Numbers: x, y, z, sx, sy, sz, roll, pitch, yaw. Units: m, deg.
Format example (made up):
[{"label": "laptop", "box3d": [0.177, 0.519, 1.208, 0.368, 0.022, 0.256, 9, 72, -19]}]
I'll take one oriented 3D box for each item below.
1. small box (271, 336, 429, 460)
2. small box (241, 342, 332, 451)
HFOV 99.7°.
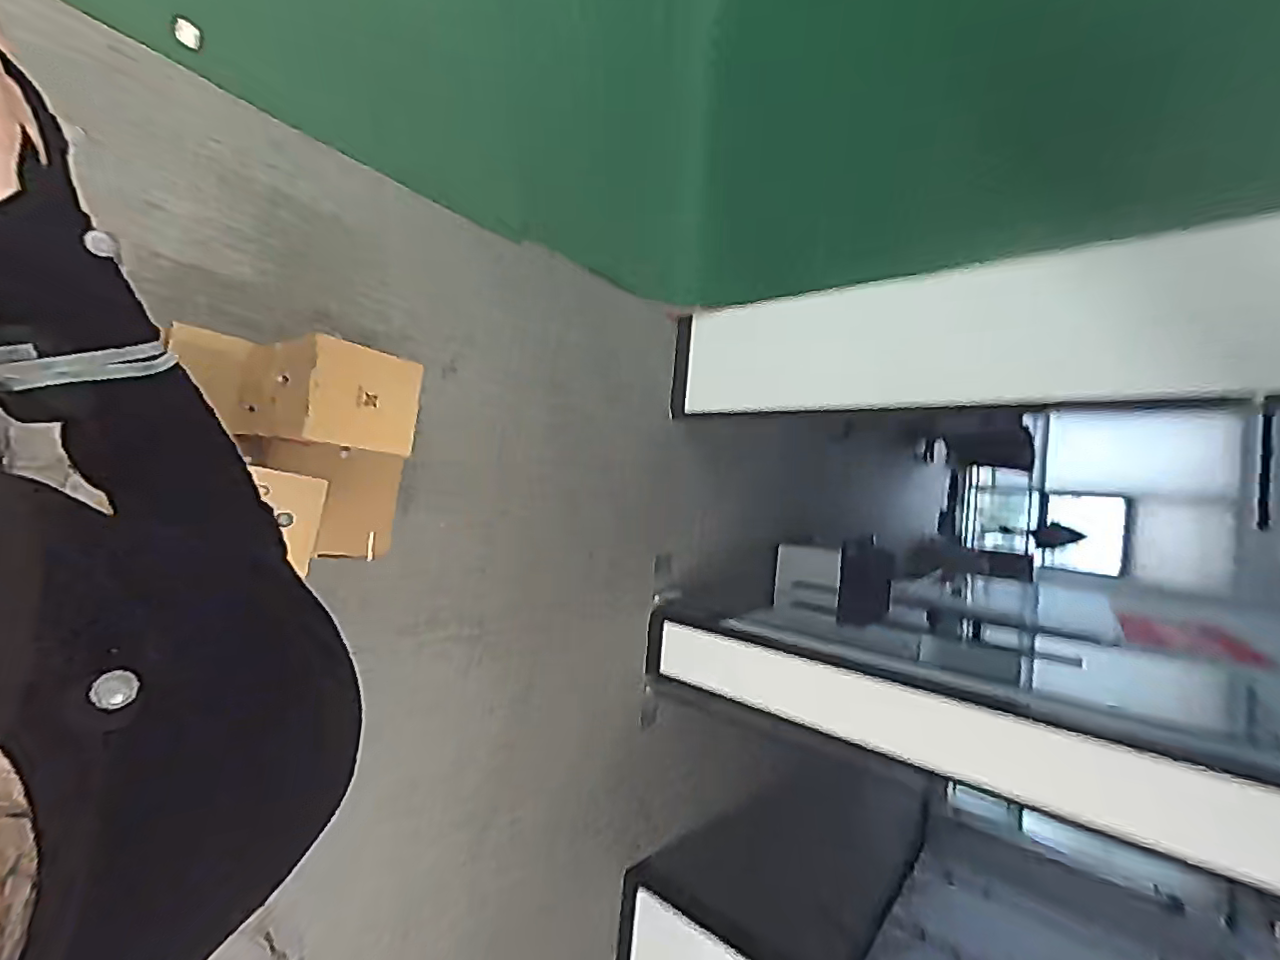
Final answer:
[{"label": "small box", "box3d": [-0.500, -0.134, 0.935, 0.179, 0.176, 0.168, 14, 83, -49]}, {"label": "small box", "box3d": [-0.629, -0.149, 1.035, 0.179, 0.176, 0.168, 14, 82, -52]}]
